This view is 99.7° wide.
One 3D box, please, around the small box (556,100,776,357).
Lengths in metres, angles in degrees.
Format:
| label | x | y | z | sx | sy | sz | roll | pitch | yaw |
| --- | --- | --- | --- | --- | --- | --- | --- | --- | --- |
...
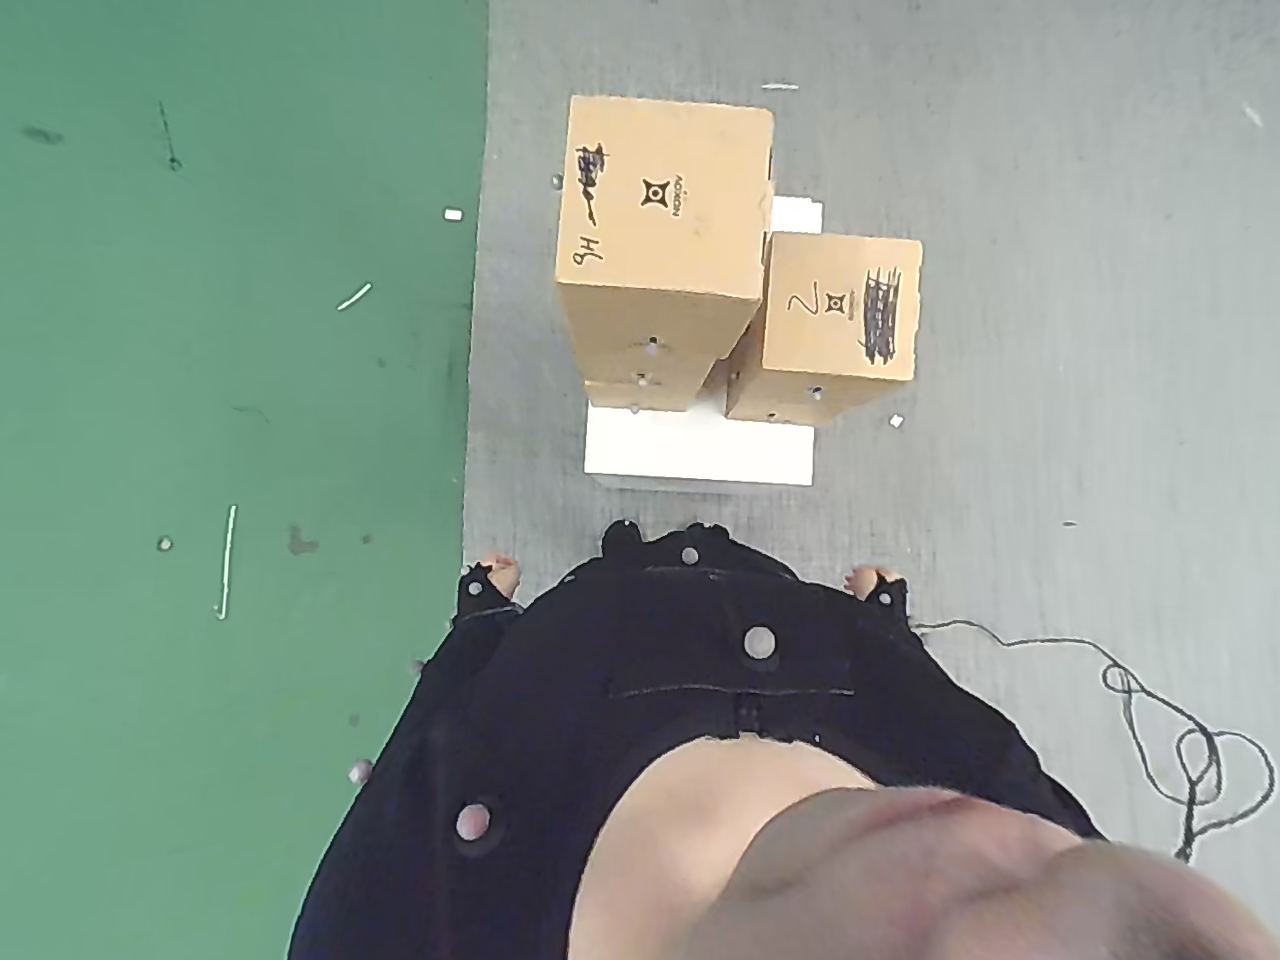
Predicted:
| label | x | y | z | sx | sy | sz | roll | pitch | yaw |
| --- | --- | --- | --- | --- | --- | --- | --- | --- | --- |
| small box | 0.021 | -0.228 | 0.536 | 0.179 | 0.176 | 0.168 | 5 | 86 | -1 |

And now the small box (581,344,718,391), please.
| label | x | y | z | sx | sy | sz | roll | pitch | yaw |
| --- | --- | --- | --- | --- | --- | --- | --- | --- | --- |
| small box | 0.015 | -0.226 | 0.700 | 0.168 | 0.176 | 0.179 | 5 | 86 | 0 |

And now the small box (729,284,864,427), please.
| label | x | y | z | sx | sy | sz | roll | pitch | yaw |
| --- | --- | --- | --- | --- | --- | --- | --- | --- | --- |
| small box | 0.239 | -0.189 | 0.863 | 0.168 | 0.176 | 0.179 | 5 | 87 | 1 |

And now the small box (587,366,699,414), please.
| label | x | y | z | sx | sy | sz | roll | pitch | yaw |
| --- | --- | --- | --- | --- | --- | --- | --- | --- | --- |
| small box | 0.008 | -0.211 | 0.864 | 0.168 | 0.176 | 0.179 | 4 | 87 | 0 |
